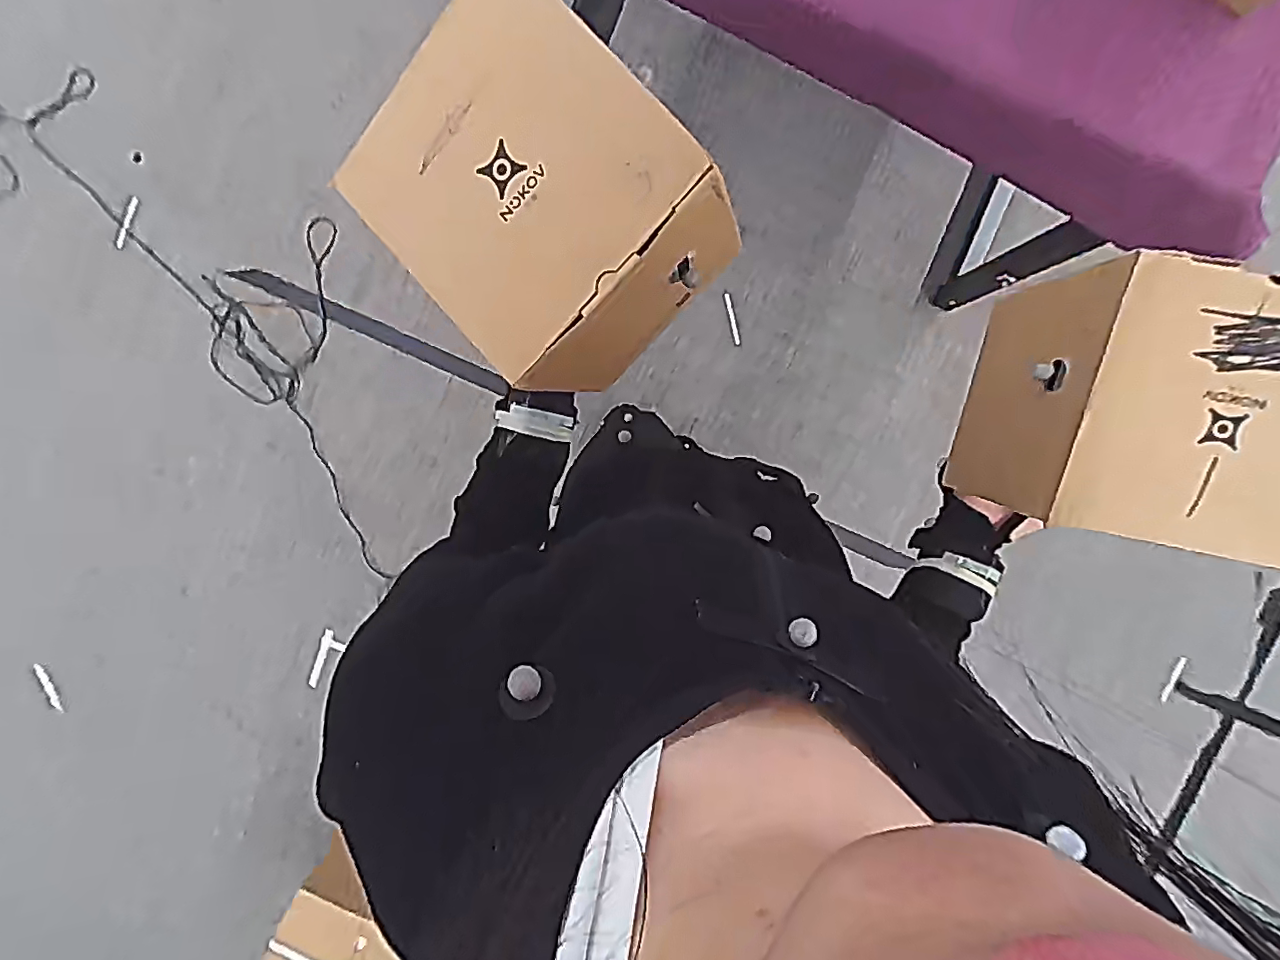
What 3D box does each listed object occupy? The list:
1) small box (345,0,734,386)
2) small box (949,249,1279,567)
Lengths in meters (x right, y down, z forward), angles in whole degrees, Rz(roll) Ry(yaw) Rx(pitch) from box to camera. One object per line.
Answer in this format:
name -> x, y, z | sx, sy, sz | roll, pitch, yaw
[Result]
small box -> -0.050, -0.185, 0.384 | 0.168, 0.176, 0.179 | -43, 85, 16
small box -> 0.374, -0.054, 0.418 | 0.168, 0.176, 0.179 | 13, 100, 5
